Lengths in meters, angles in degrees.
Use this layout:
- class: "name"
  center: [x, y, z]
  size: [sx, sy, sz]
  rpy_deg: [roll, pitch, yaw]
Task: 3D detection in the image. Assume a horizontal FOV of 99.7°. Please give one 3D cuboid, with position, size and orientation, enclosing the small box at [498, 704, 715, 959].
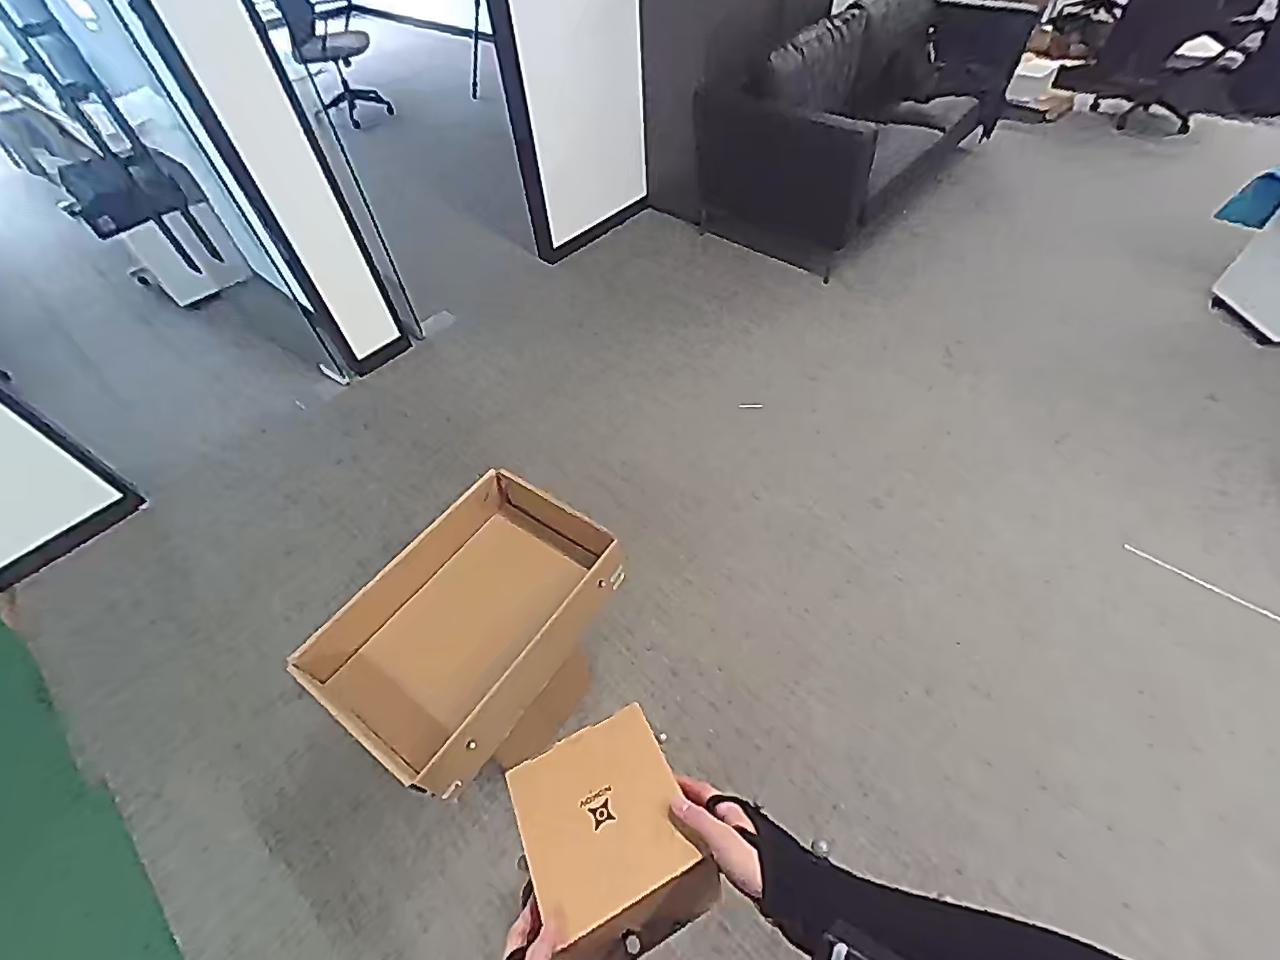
- class: "small box"
  center: [-0.032, 0.391, 0.587]
  size: [0.168, 0.176, 0.179]
  rpy_deg: [-24, 39, -13]
